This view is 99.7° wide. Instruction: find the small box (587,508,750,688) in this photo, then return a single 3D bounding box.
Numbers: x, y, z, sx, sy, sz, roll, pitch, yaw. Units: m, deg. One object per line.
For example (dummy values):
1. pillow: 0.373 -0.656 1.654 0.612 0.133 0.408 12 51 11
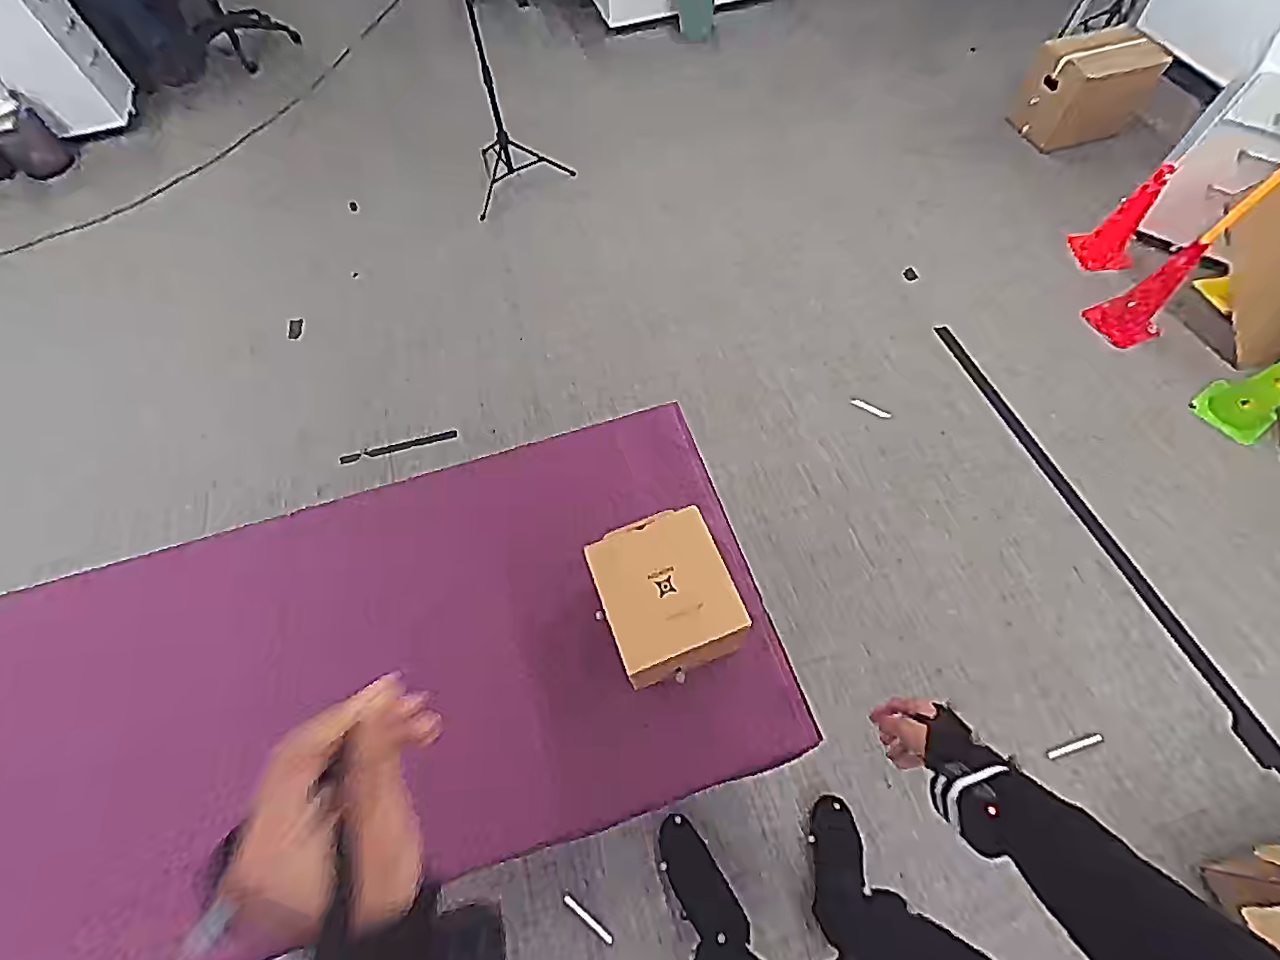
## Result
1. small box: 0.036 0.172 0.762 0.168 0.176 0.179 -20 63 -7
